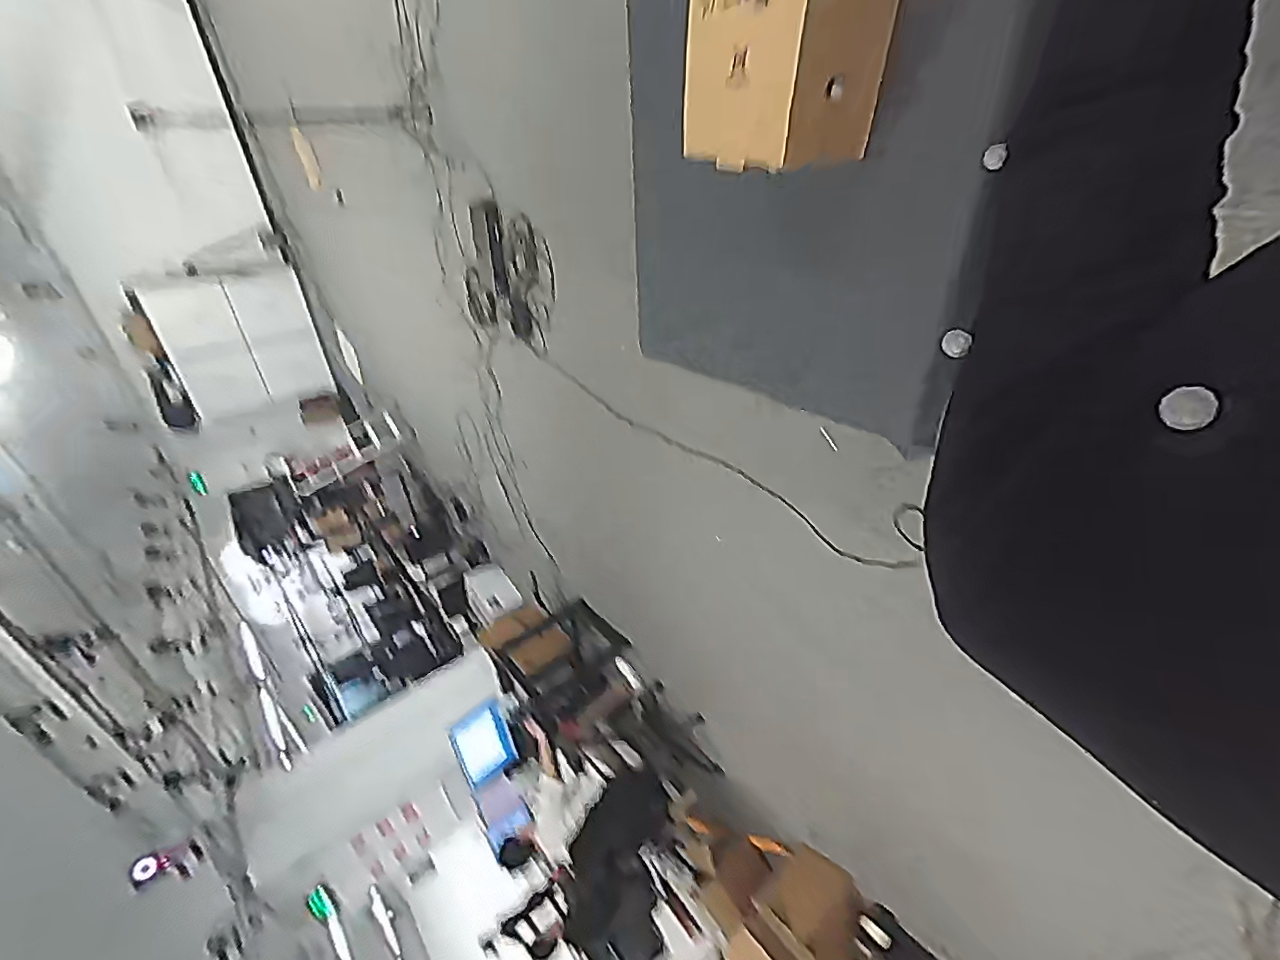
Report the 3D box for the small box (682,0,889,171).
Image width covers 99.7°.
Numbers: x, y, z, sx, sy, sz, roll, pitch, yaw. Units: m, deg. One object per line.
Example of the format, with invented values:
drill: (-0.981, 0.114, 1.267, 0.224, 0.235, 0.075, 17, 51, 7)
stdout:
small box: (0.168, -0.488, 0.650, 0.168, 0.176, 0.179, 35, 140, 38)
